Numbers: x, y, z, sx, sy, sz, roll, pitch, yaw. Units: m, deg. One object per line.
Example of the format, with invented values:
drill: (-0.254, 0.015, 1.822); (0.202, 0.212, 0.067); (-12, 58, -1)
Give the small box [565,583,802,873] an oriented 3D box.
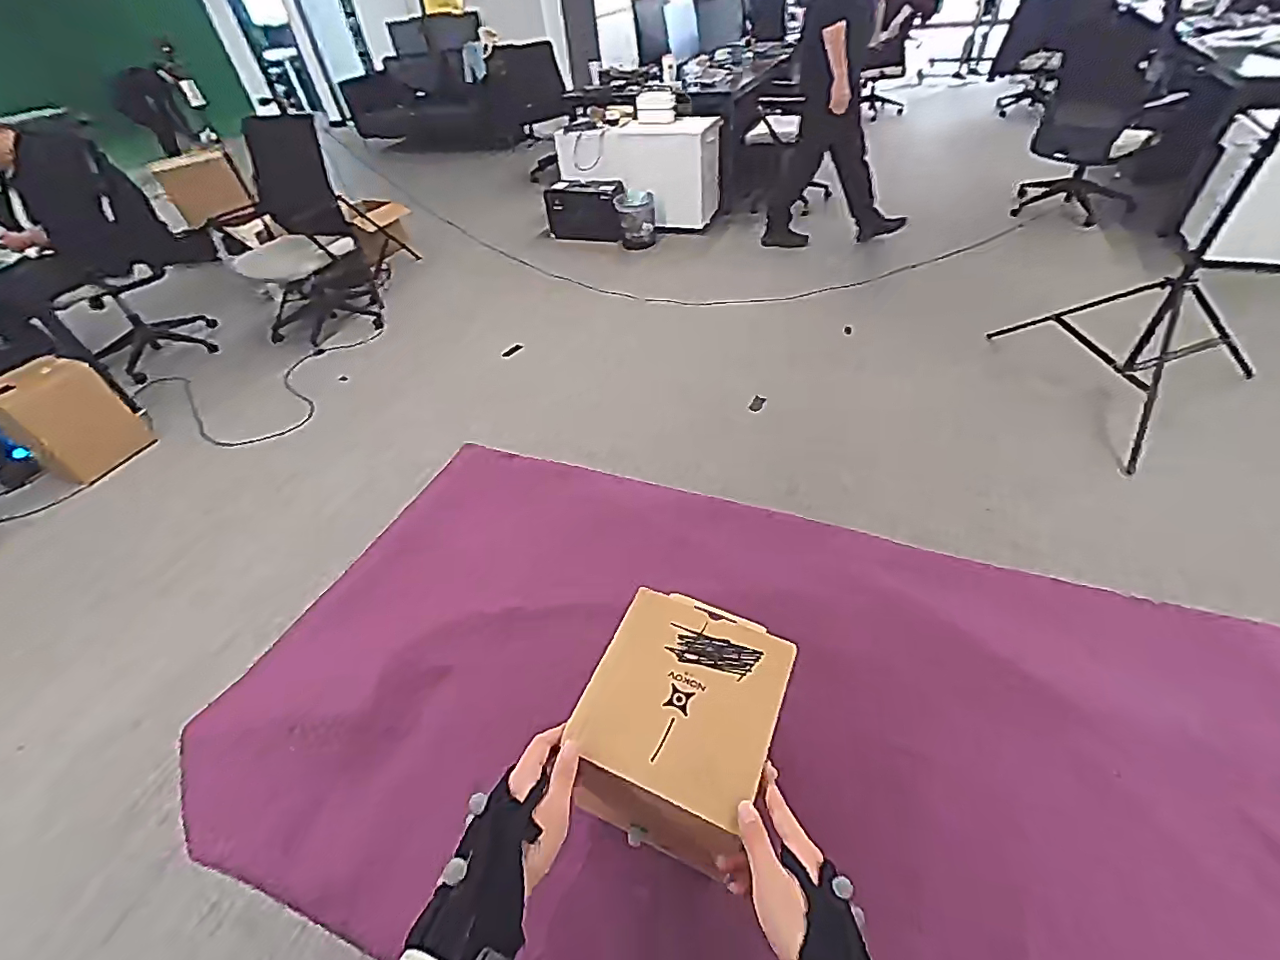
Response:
small box: (0.045, 0.240, 0.533); (0.168, 0.176, 0.179); (17, 47, 19)
